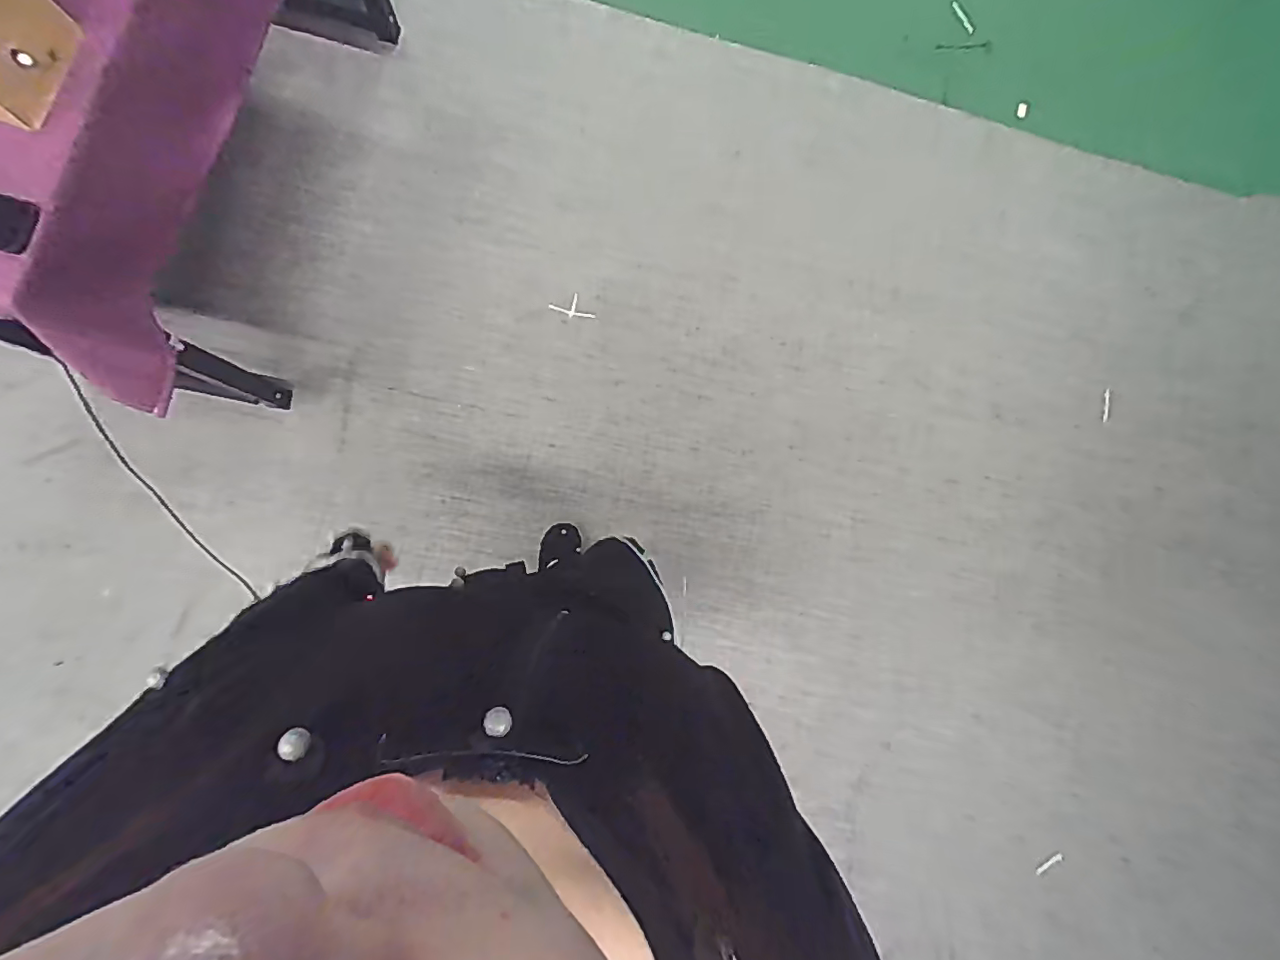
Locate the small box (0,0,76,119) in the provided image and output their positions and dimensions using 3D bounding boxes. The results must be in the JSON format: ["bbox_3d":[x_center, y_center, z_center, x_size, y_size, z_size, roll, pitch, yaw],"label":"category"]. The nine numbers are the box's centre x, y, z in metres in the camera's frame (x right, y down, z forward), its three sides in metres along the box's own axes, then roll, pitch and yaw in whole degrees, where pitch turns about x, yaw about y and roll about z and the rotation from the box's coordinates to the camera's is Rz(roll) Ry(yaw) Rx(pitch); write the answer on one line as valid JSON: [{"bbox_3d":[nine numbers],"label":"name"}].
[{"bbox_3d":[-0.887,-0.596,0.667,0.179,0.176,0.168,17,82,-6],"label":"small box"}]
